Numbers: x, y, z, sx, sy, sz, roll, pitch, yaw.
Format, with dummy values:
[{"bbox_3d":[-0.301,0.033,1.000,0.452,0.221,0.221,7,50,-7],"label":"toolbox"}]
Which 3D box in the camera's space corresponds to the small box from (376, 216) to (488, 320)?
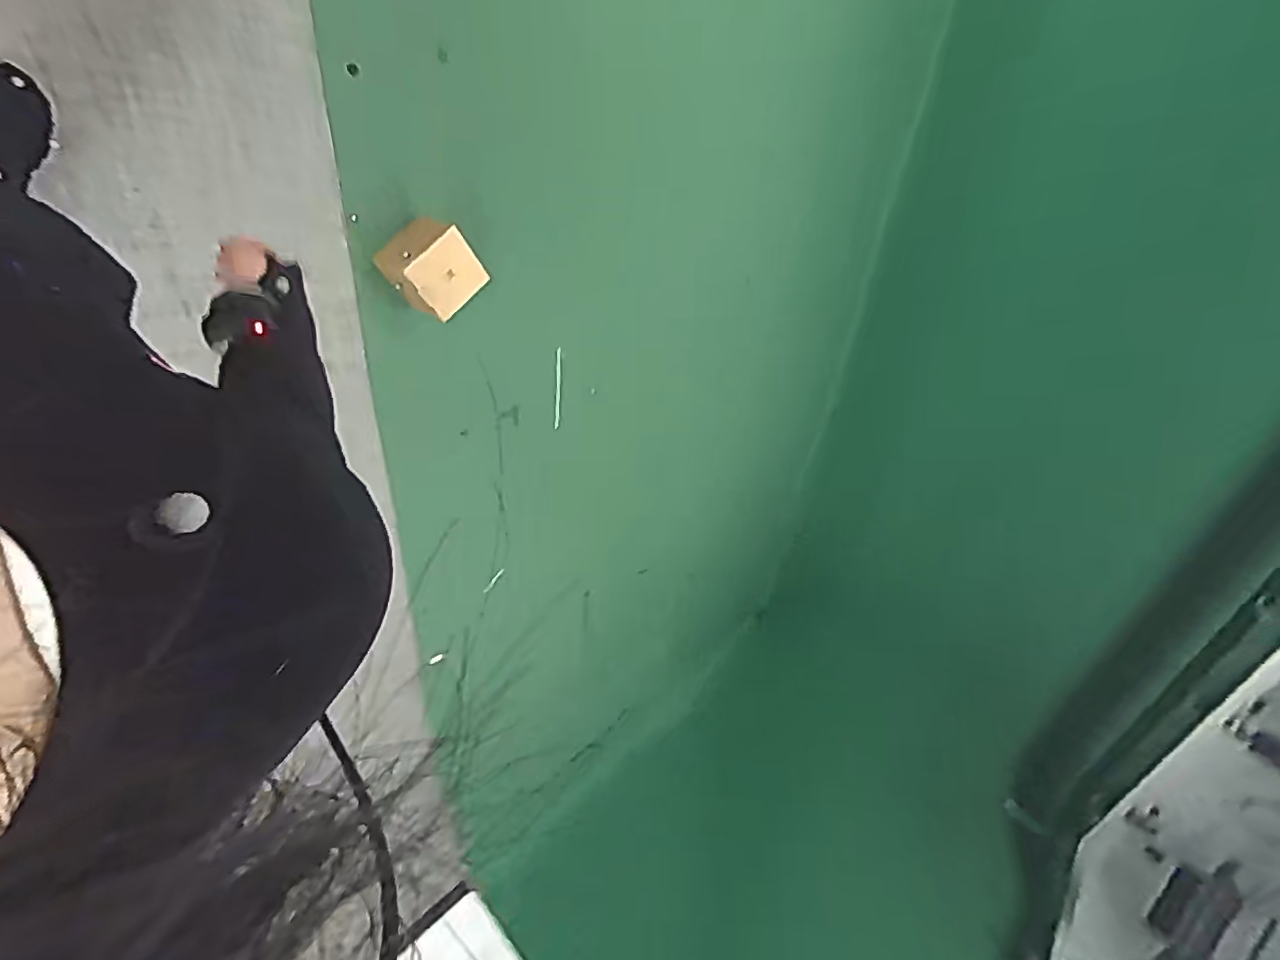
[{"bbox_3d":[-0.537,-0.551,1.394,0.179,0.176,0.168,-49,145,-12],"label":"small box"}]
